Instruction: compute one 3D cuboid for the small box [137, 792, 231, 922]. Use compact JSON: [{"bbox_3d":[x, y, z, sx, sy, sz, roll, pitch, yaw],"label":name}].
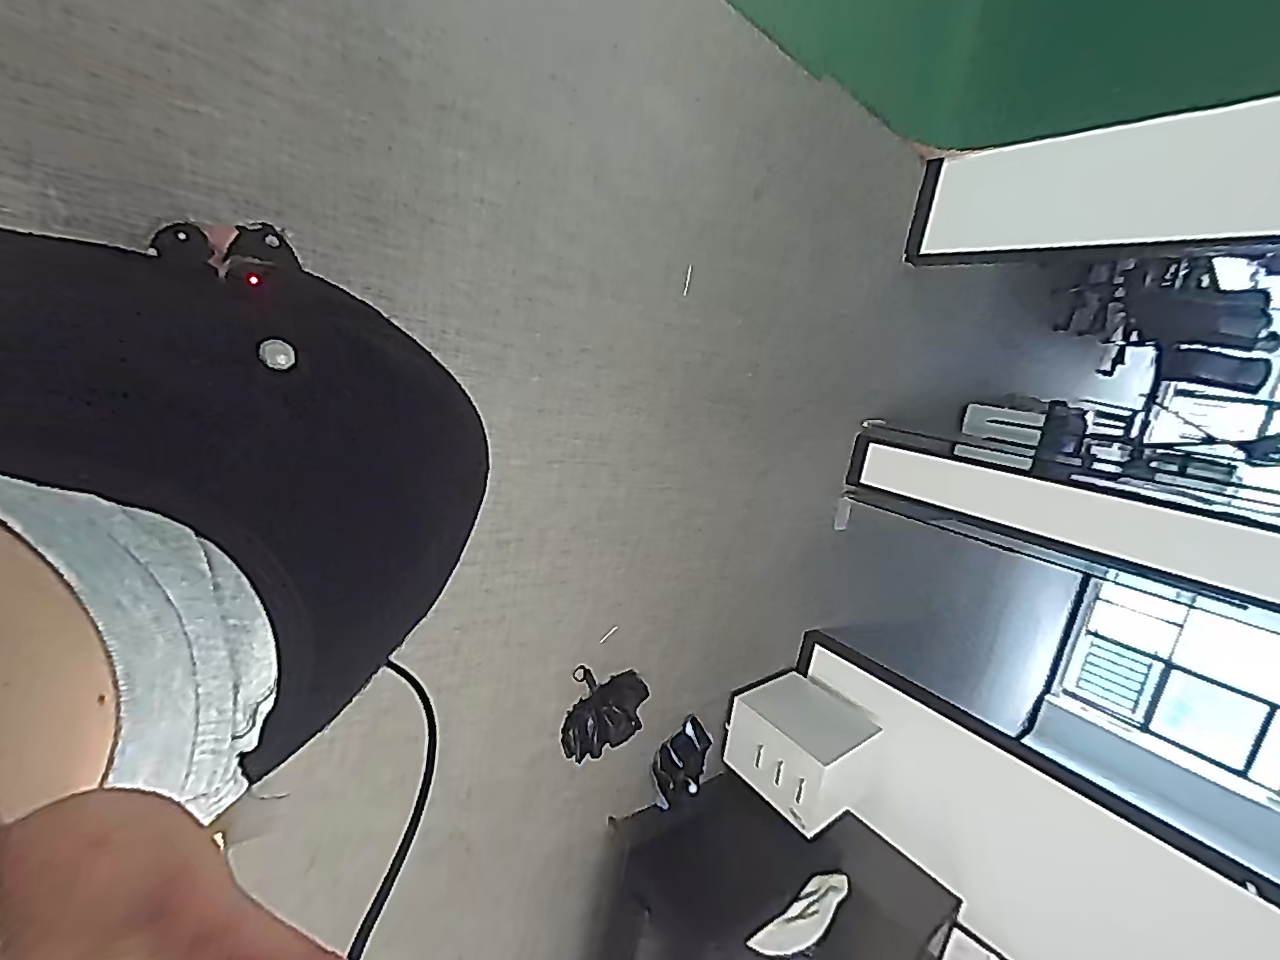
[{"bbox_3d":[-1.154,0.949,1.378,0.168,0.176,0.179,-7,109,-38],"label":"small box"}]
